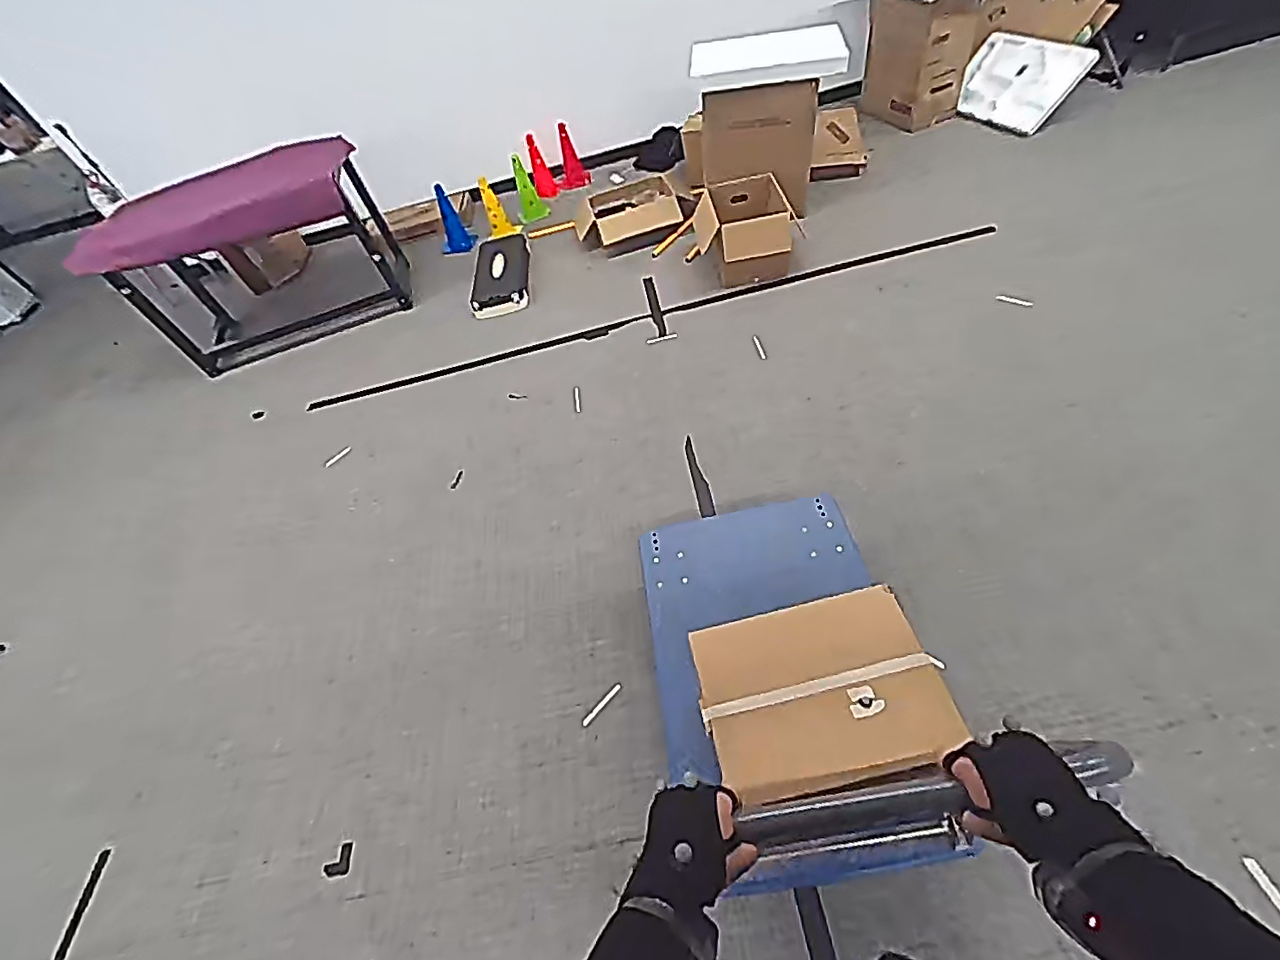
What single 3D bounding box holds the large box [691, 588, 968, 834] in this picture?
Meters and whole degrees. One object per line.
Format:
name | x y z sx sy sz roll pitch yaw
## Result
large box | 0.343 0.471 1.089 0.408 0.320 0.320 -14 50 1
